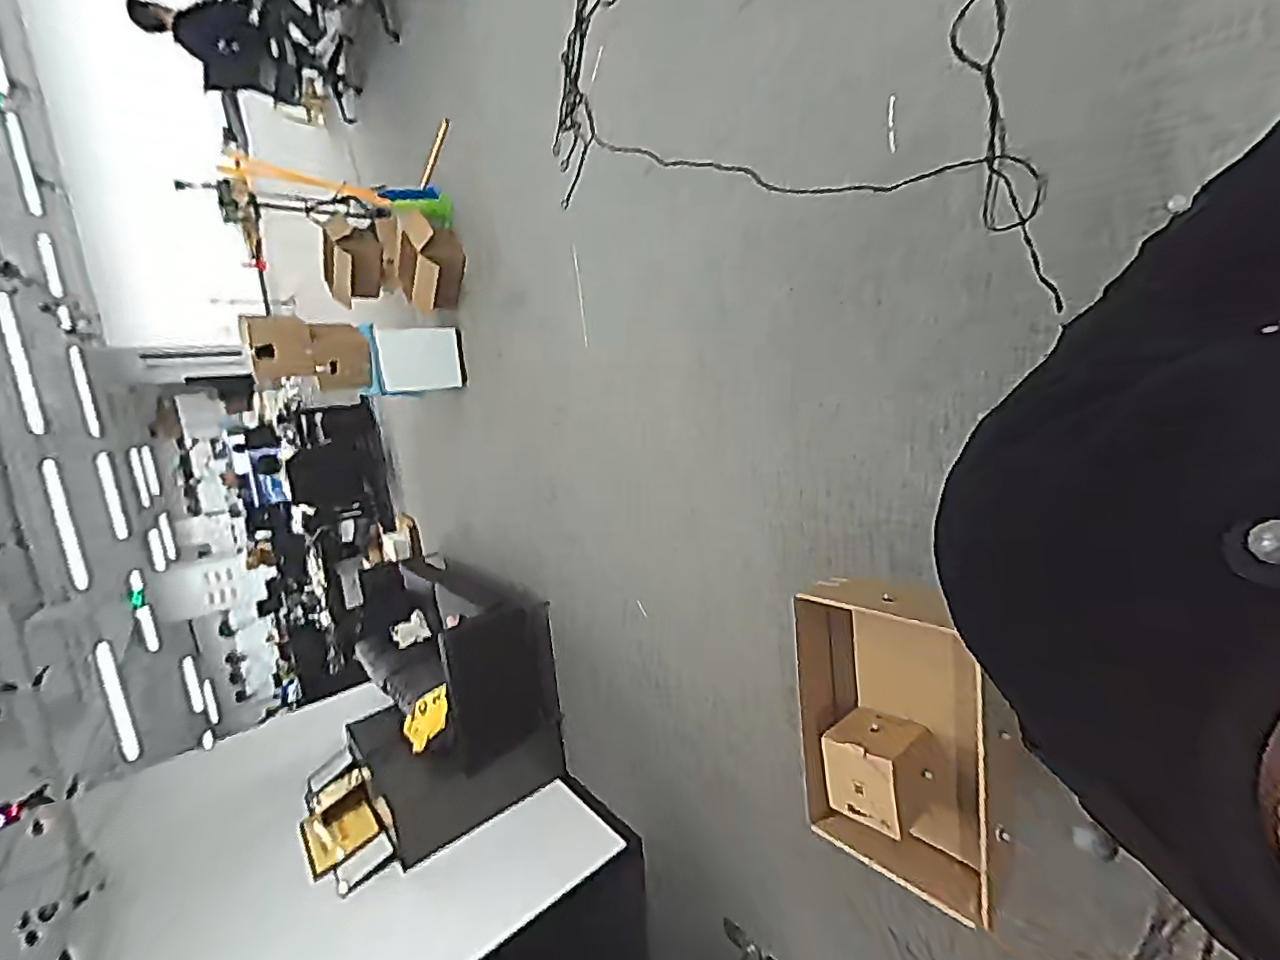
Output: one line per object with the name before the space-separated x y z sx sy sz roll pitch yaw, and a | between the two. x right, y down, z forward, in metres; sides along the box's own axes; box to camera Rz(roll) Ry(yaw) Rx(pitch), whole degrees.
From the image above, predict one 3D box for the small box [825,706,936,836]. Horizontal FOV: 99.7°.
small box | 0.543 0.640 1.219 0.168 0.176 0.179 -2 96 52
